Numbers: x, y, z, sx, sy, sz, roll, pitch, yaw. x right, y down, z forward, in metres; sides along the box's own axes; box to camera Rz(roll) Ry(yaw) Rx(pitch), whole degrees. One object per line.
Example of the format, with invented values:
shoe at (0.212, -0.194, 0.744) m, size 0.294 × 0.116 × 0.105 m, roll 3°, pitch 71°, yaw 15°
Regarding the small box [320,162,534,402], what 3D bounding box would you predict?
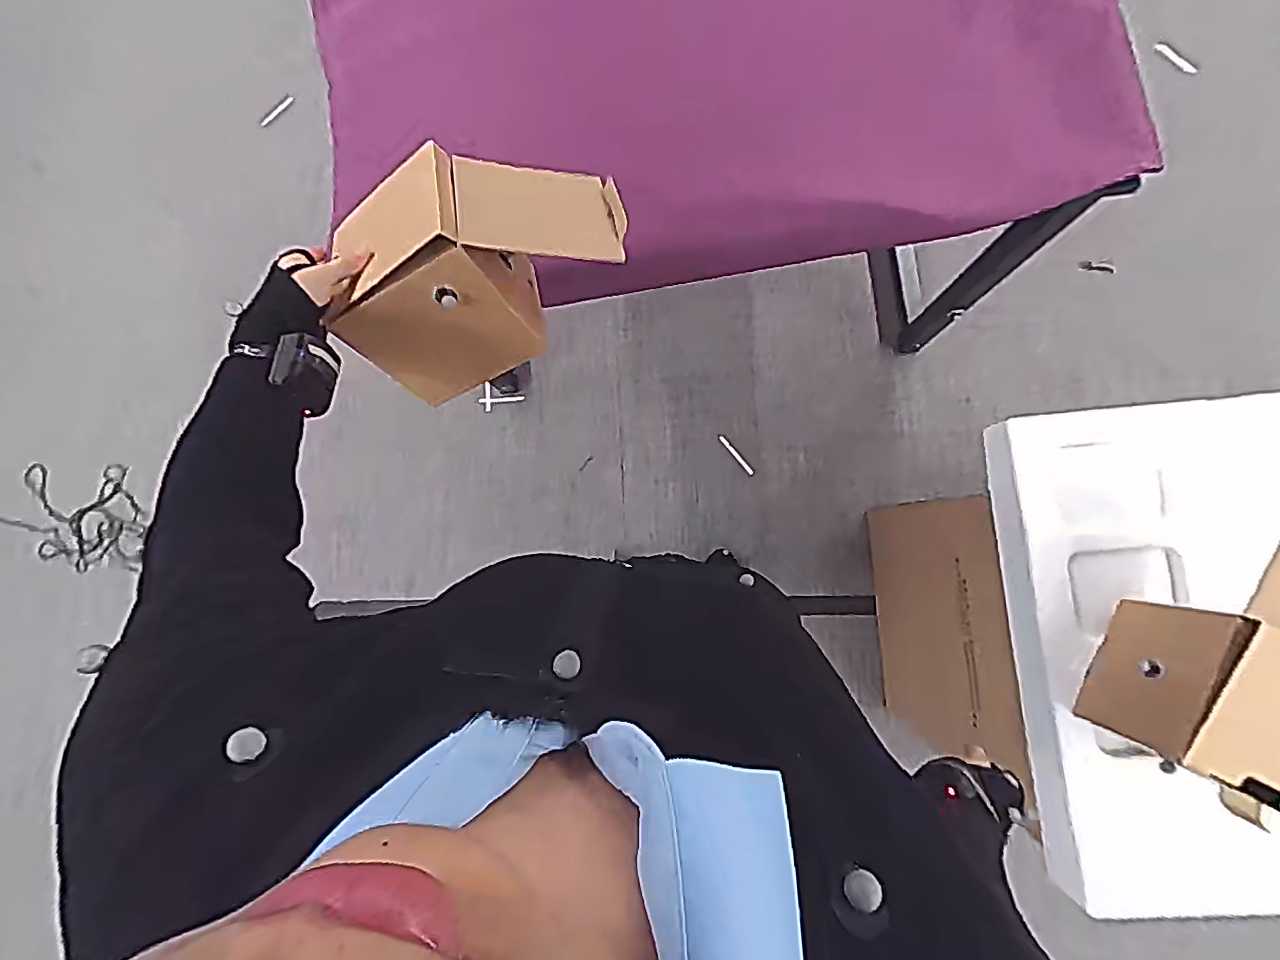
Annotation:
small box at (-0.240, -0.225, 0.648) m, size 0.179 × 0.176 × 0.168 m, roll -23°, pitch 58°, yaw 13°
